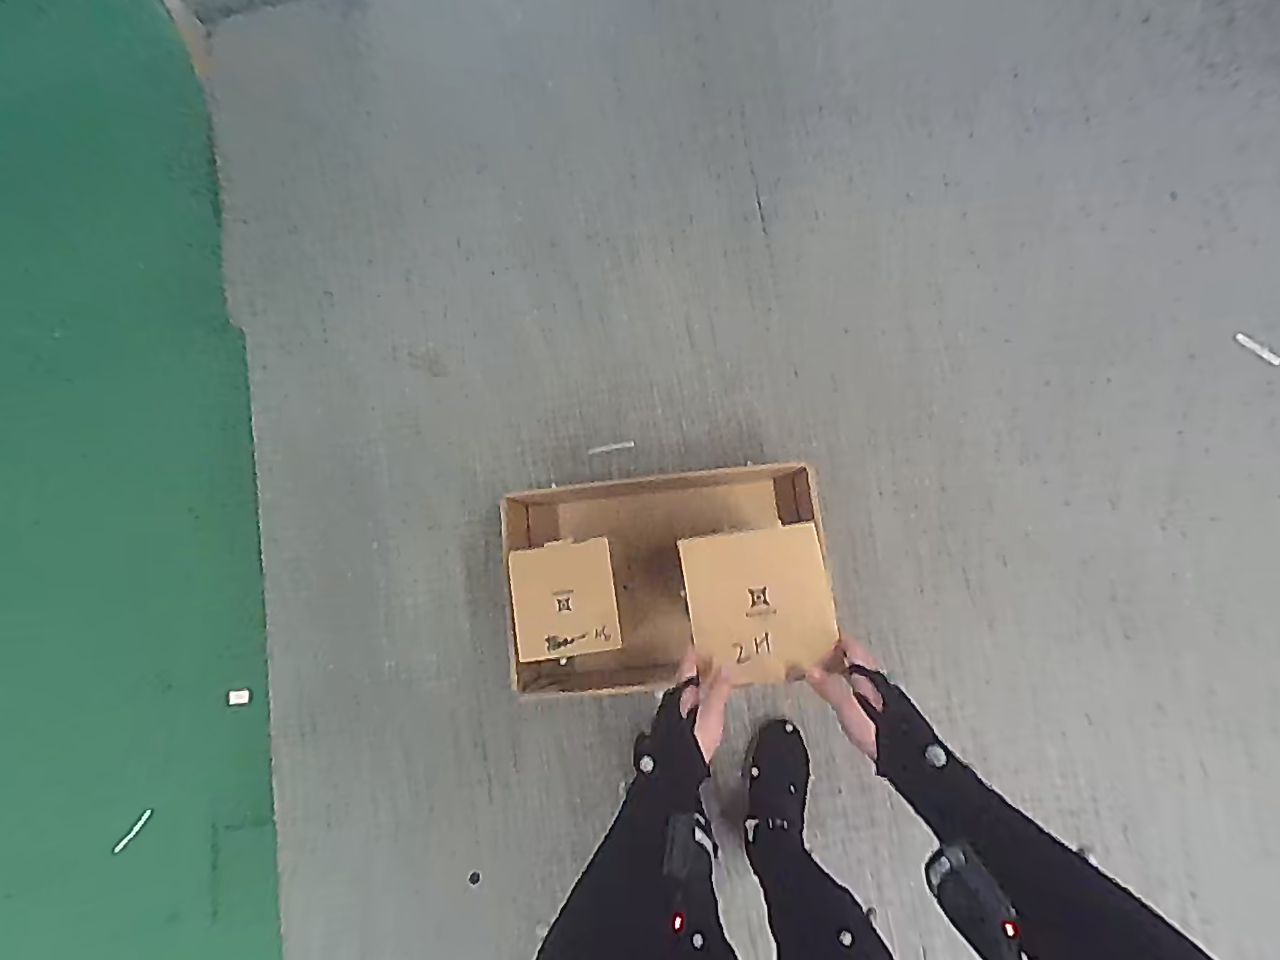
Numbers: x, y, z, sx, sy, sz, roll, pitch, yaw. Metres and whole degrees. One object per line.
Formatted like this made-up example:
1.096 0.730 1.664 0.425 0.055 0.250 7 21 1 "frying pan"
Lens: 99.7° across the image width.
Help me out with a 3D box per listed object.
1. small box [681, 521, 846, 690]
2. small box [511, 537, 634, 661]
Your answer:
0.146 0.163 0.696 0.168 0.176 0.179 -9 75 5 "small box"
-0.109 0.201 0.923 0.168 0.176 0.179 -9 79 6 "small box"
